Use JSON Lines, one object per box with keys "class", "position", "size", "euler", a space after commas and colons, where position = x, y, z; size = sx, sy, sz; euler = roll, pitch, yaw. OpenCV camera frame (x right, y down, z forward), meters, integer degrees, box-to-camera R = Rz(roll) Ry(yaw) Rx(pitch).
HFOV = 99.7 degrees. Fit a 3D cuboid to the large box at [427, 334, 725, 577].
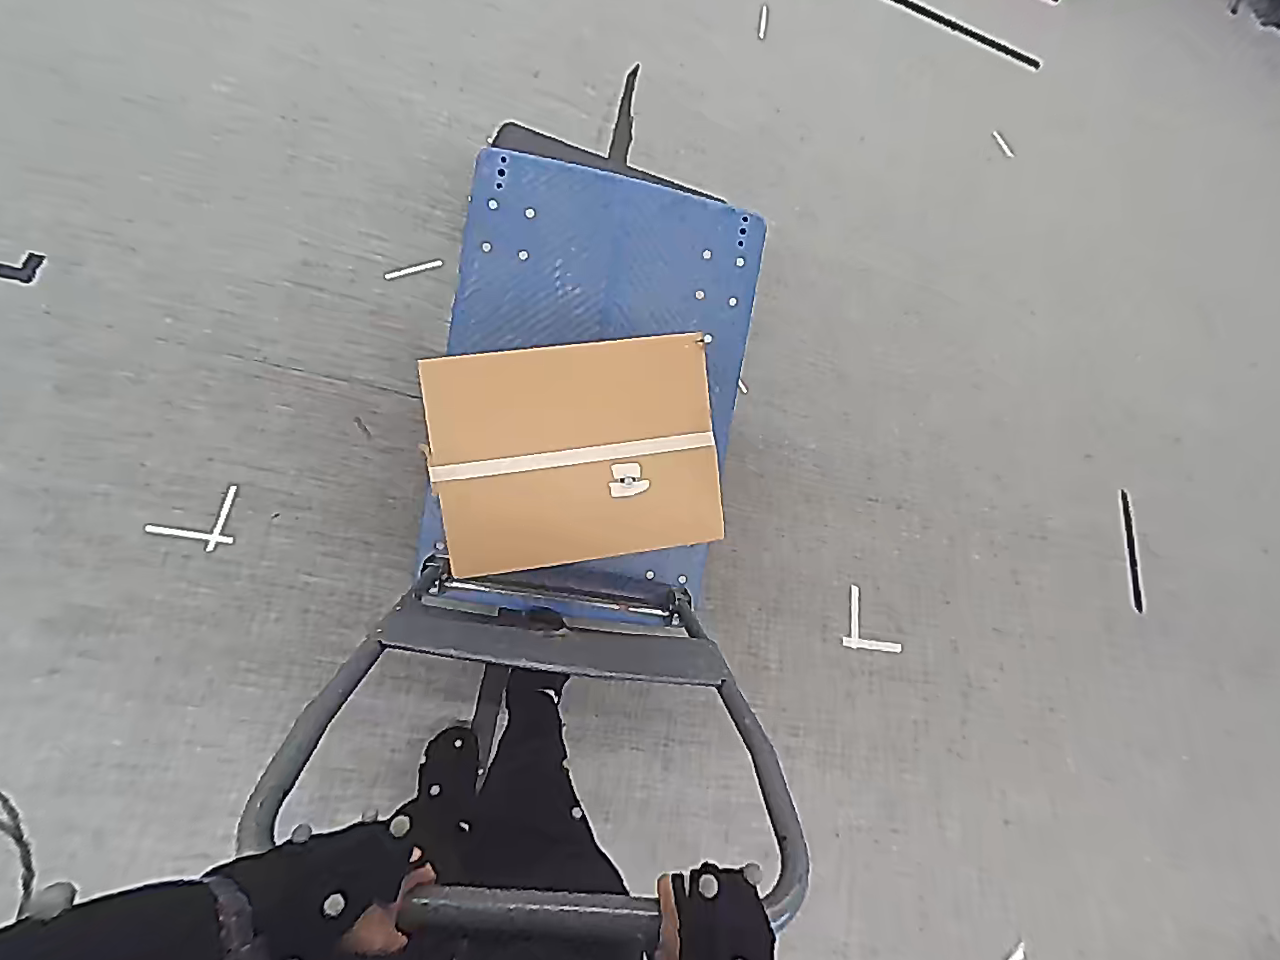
{"class": "large box", "position": [-0.106, -0.049, 0.934], "size": [0.408, 0.320, 0.320], "euler": [-8, 97, -8]}
